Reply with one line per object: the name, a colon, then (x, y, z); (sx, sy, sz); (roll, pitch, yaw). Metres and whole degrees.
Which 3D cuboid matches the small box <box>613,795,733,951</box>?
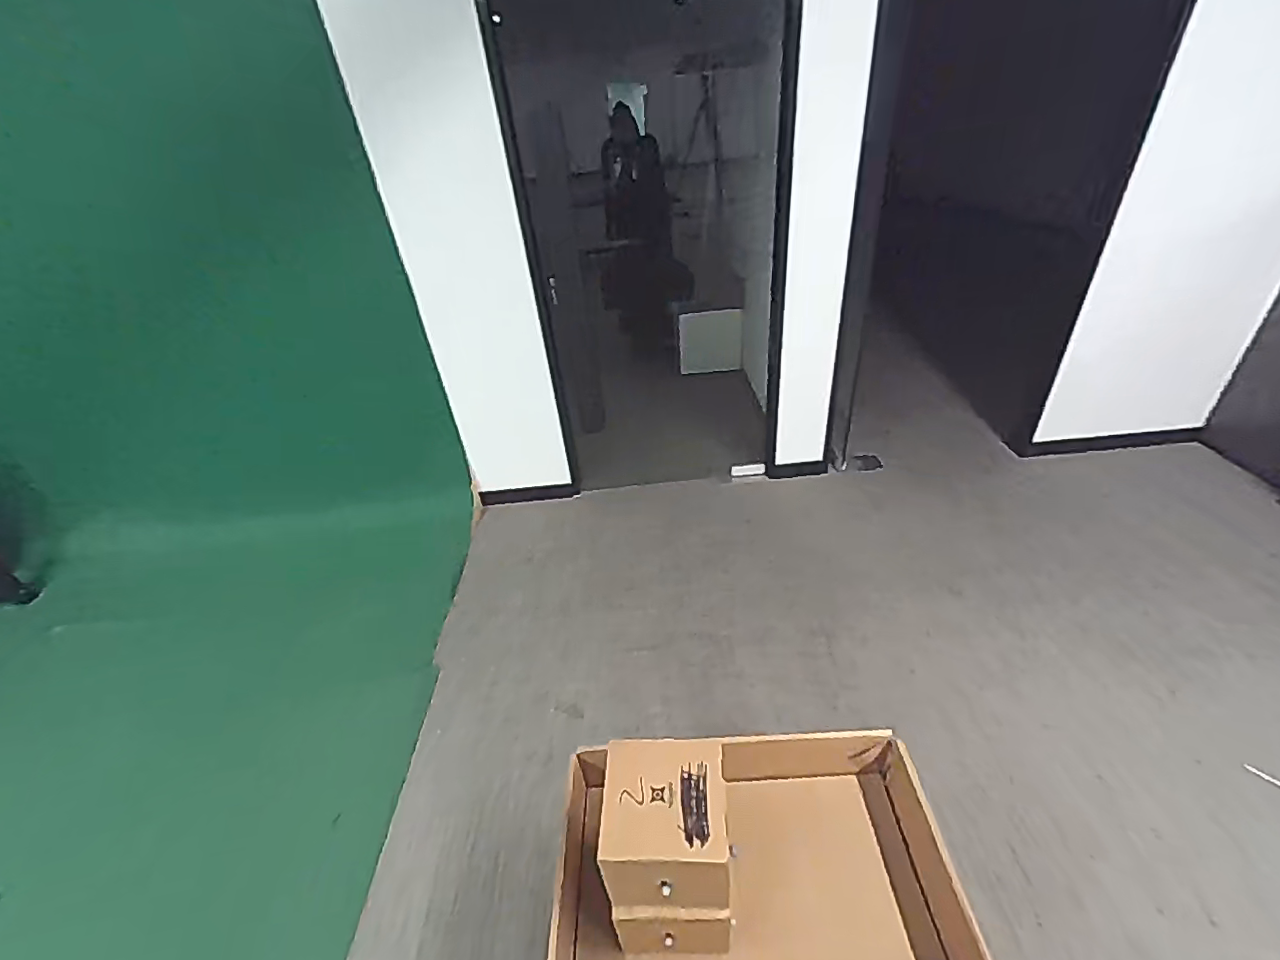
small box: (0.056, 0.645, 0.891); (0.179, 0.176, 0.168); (-3, 35, 5)
